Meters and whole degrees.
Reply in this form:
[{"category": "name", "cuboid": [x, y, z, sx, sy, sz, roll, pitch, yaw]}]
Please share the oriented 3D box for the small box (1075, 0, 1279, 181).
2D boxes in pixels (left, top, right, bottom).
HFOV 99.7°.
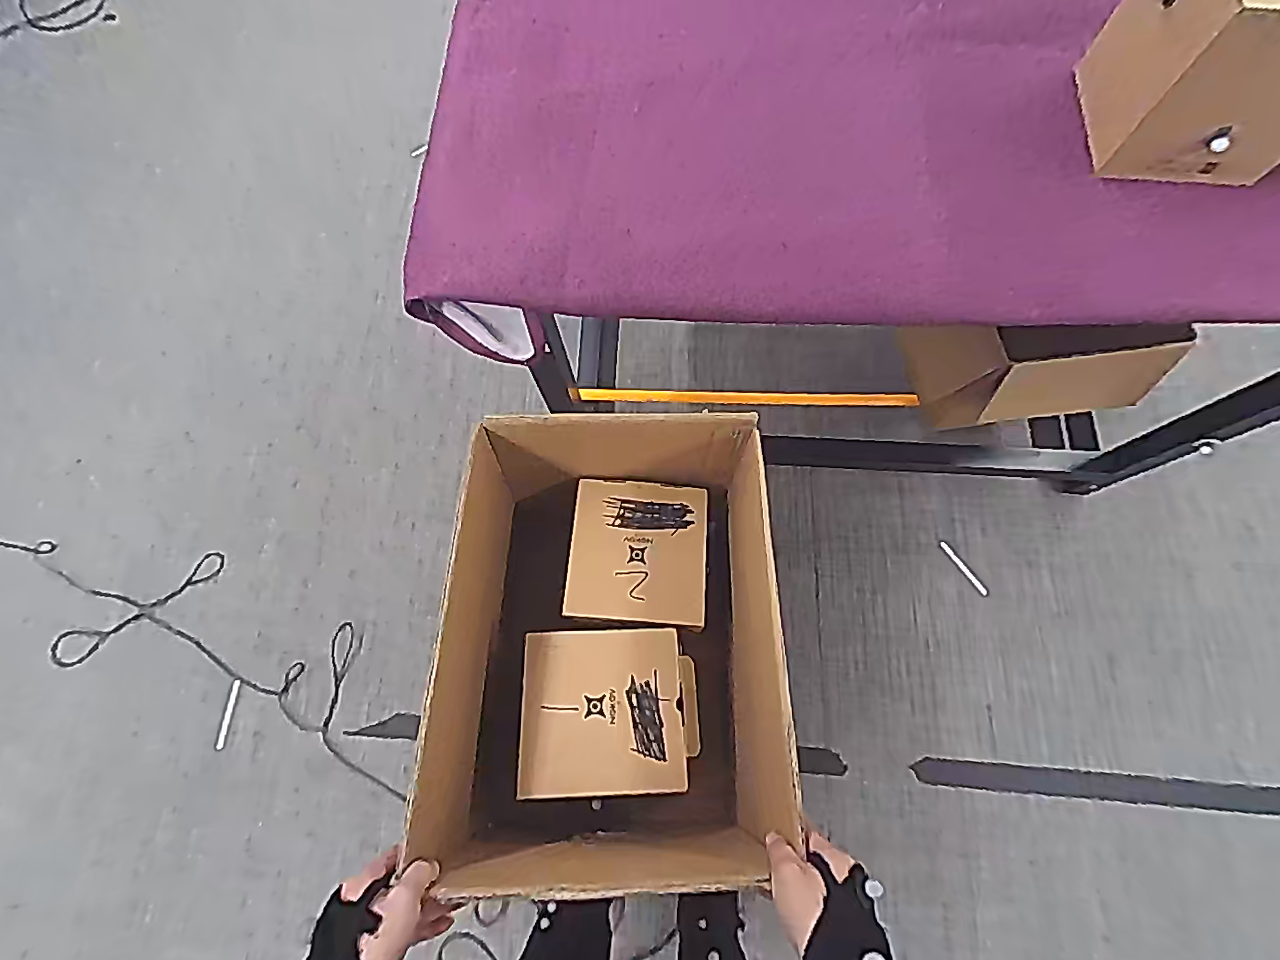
[{"category": "small box", "cuboid": [0.590, -0.445, 0.552, 0.168, 0.176, 0.179, 5, 72, 5]}]
